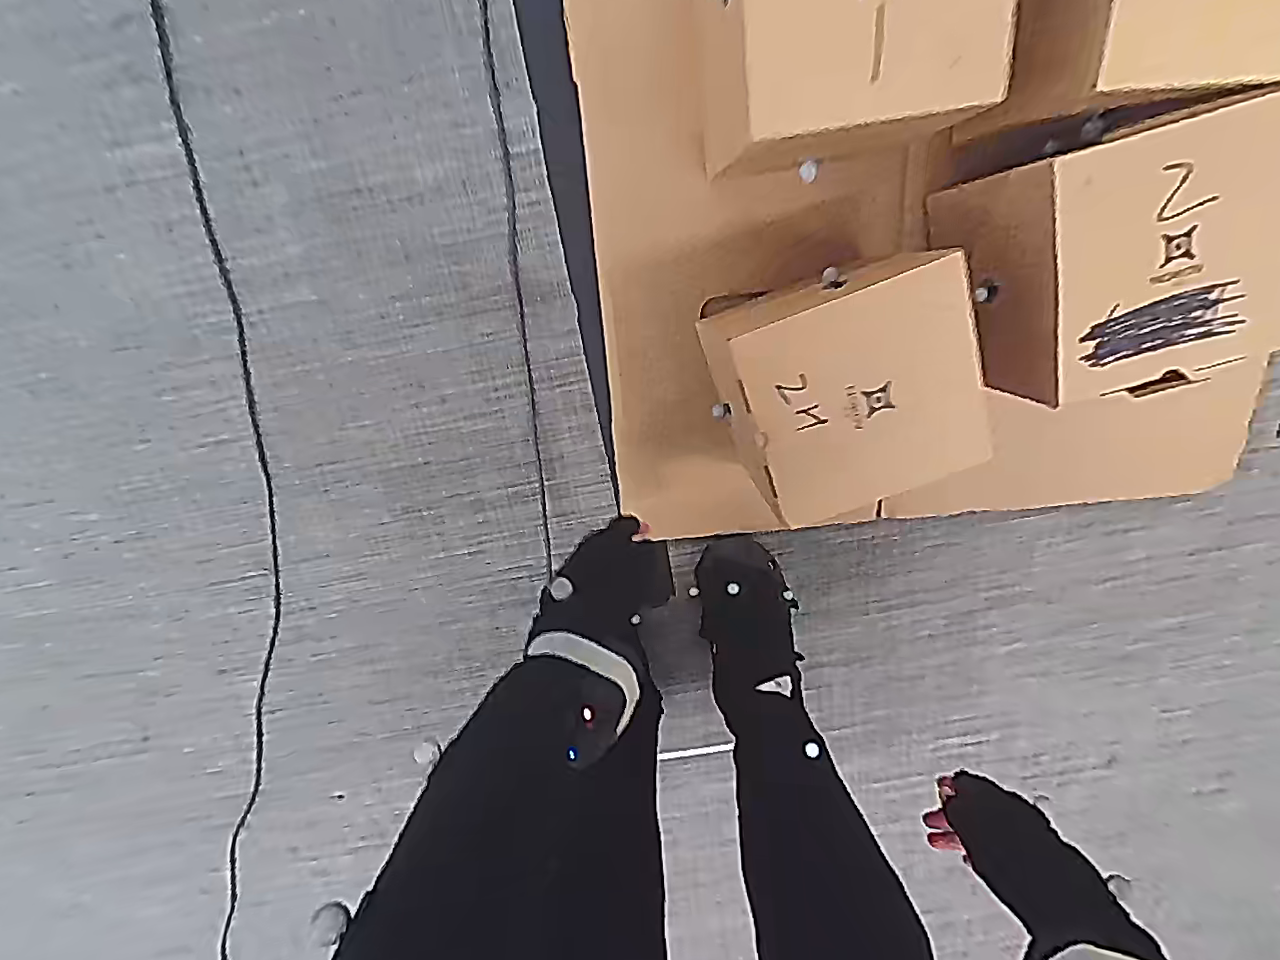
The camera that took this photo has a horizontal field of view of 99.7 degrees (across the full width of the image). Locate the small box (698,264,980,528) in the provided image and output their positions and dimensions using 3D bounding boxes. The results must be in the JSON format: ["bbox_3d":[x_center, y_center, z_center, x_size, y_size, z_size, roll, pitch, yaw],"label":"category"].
[{"bbox_3d":[0.166,-0.085,0.495,0.179,0.176,0.168,-20,108,6],"label":"small box"}]
